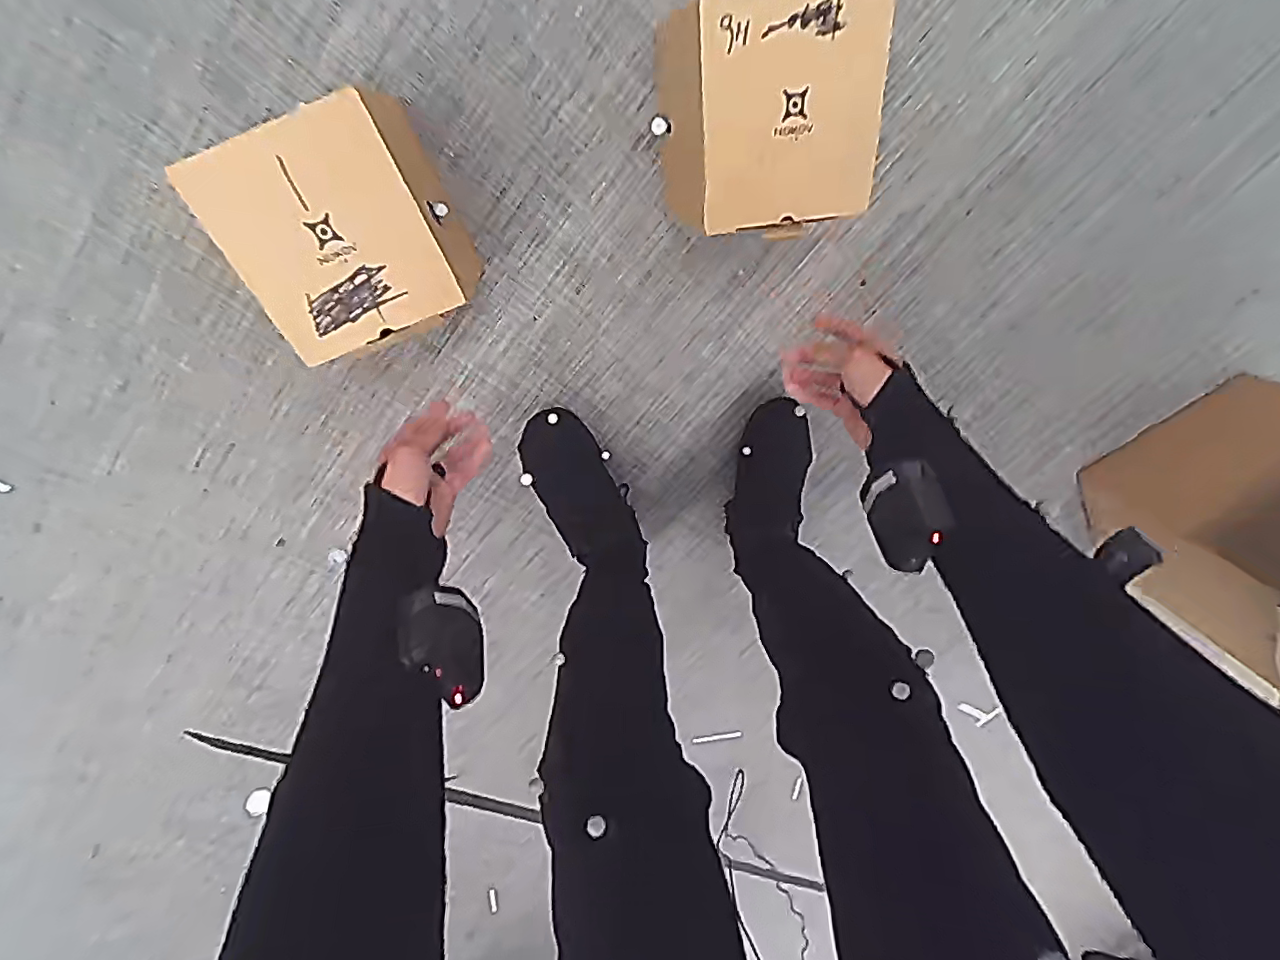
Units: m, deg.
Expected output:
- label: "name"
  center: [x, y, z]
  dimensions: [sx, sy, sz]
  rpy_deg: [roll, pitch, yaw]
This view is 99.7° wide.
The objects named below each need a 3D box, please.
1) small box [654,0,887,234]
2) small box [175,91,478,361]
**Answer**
- label: "small box"
  center: [0.113, -0.364, 0.542]
  dimensions: [0.168, 0.176, 0.179]
  rpy_deg: [-10, 125, -6]
- label: "small box"
  center: [-0.277, -0.249, 0.533]
  dimensions: [0.168, 0.176, 0.179]
  rpy_deg: [-22, 123, 2]
